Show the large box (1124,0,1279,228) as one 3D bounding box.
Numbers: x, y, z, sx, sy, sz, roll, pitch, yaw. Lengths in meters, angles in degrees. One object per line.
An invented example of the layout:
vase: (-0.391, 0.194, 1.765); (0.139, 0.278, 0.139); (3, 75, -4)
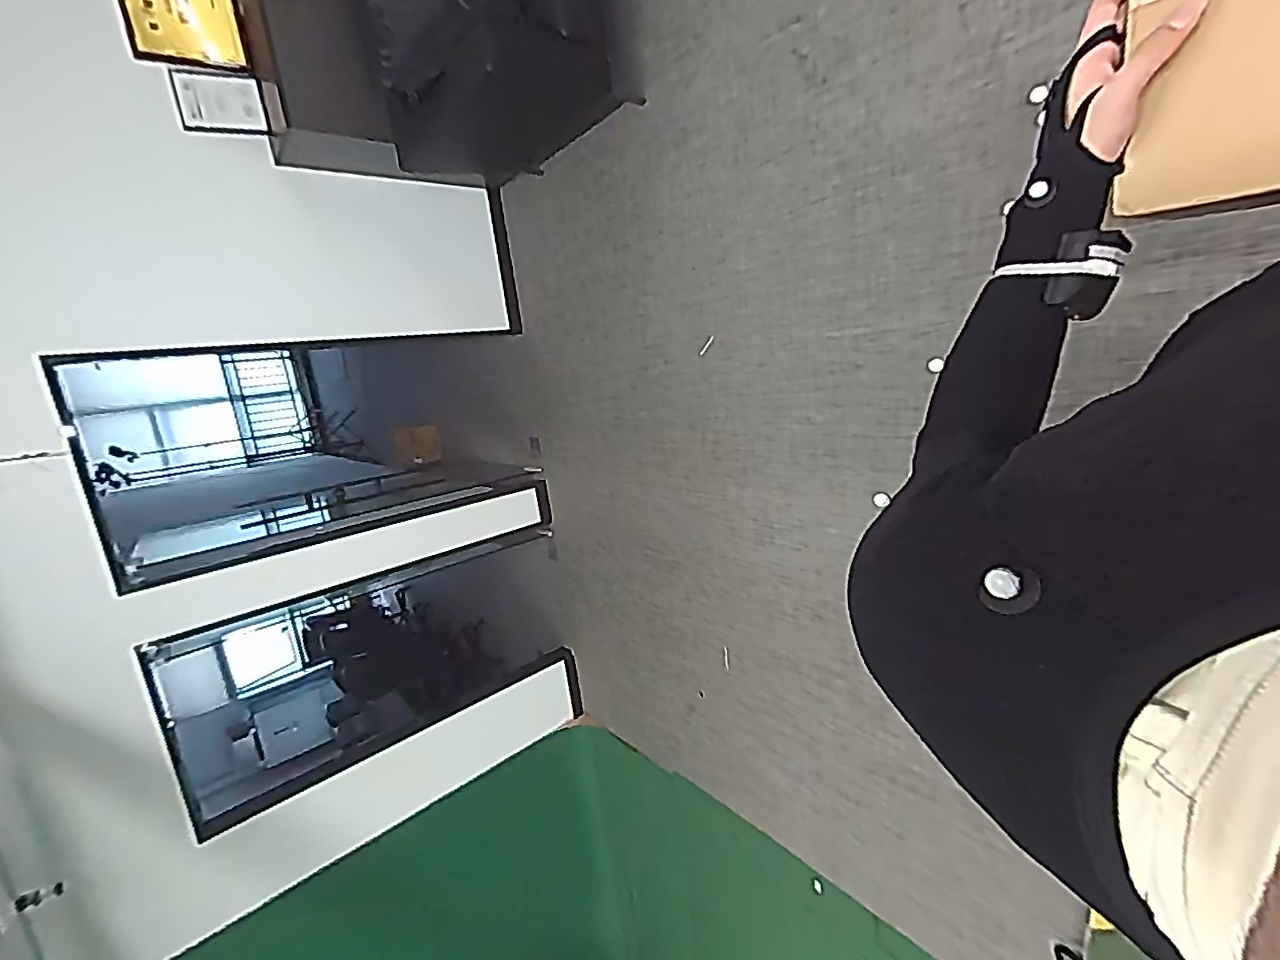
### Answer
large box: (0.623, -0.386, 0.366); (0.408, 0.320, 0.320); (9, 113, 47)
